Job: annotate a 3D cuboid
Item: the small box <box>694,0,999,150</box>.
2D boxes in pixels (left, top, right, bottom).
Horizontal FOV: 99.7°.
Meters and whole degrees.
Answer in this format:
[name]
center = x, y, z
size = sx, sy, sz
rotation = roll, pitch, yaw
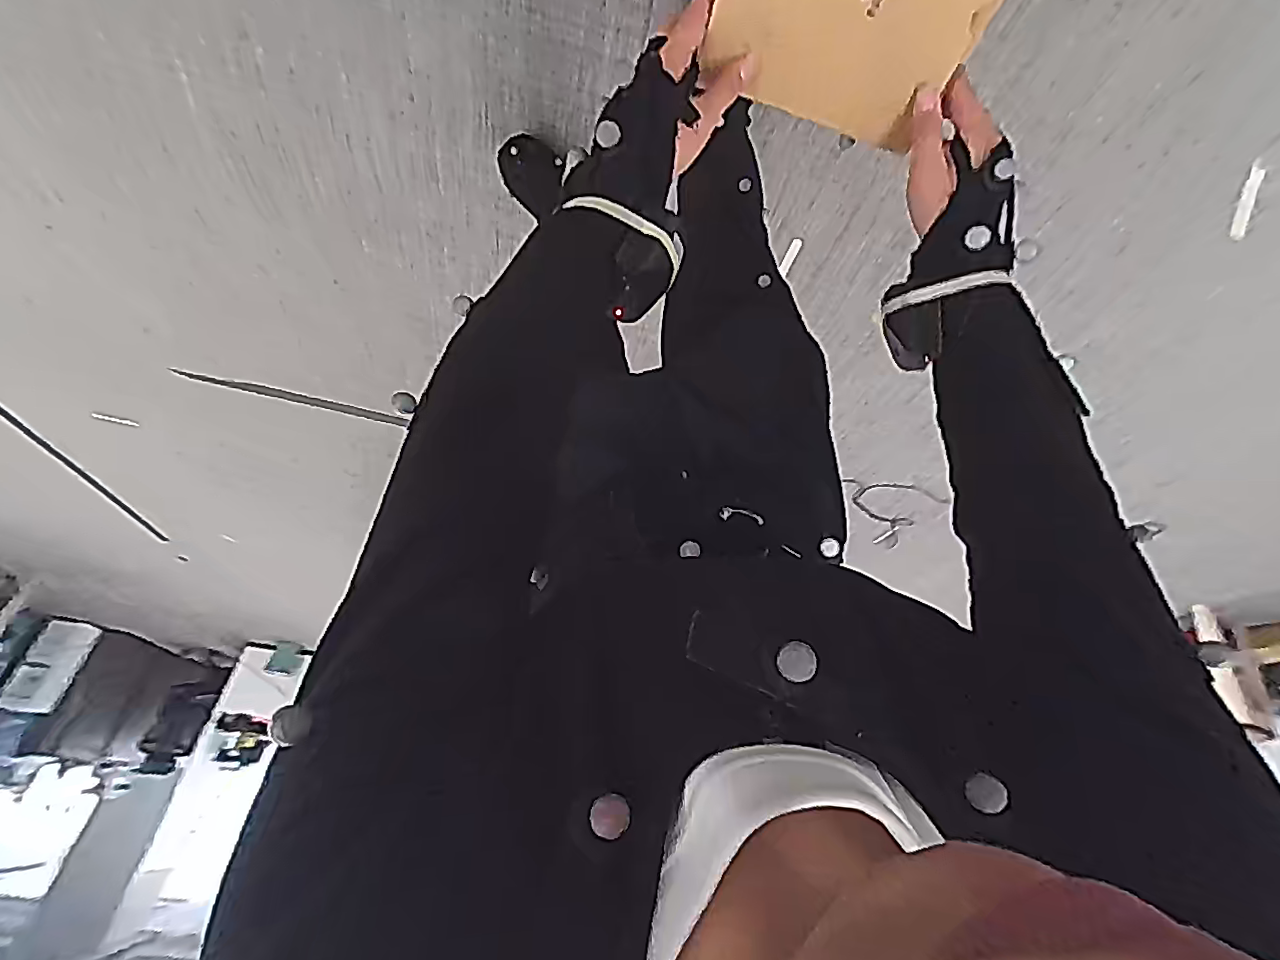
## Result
[small box]
center = 0.147, -0.376, 0.387
size = 0.179, 0.176, 0.168
rotation = 13, 138, -9
